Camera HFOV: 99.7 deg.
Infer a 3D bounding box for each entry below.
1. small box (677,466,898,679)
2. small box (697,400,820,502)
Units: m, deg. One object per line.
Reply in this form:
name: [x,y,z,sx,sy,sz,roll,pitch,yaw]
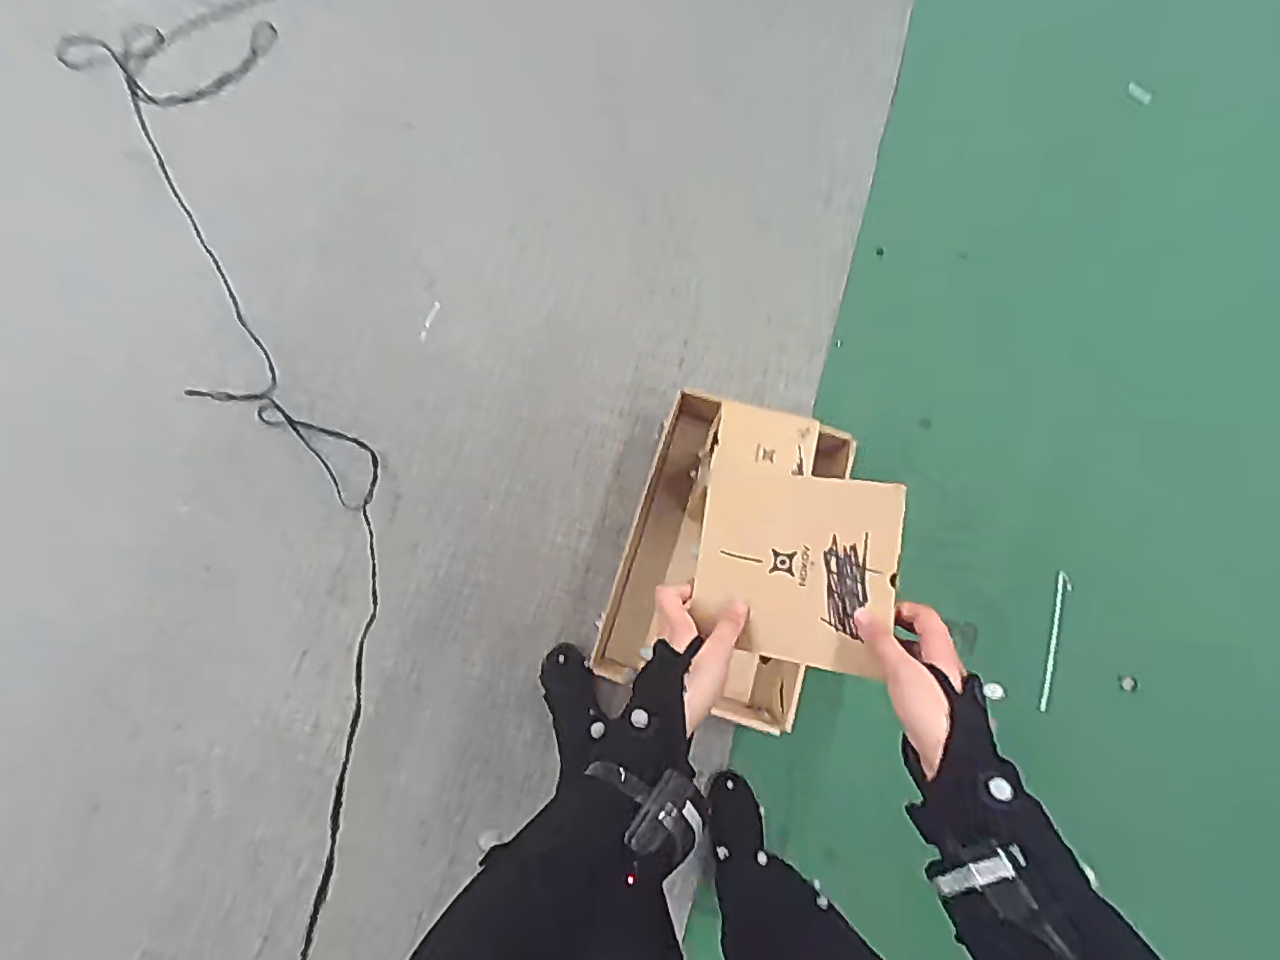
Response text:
small box: [0.145,0.092,0.562,0.179,0.176,0.168,9,80,12]
small box: [0.210,-0.027,1.004,0.179,0.176,0.168,14,77,4]
